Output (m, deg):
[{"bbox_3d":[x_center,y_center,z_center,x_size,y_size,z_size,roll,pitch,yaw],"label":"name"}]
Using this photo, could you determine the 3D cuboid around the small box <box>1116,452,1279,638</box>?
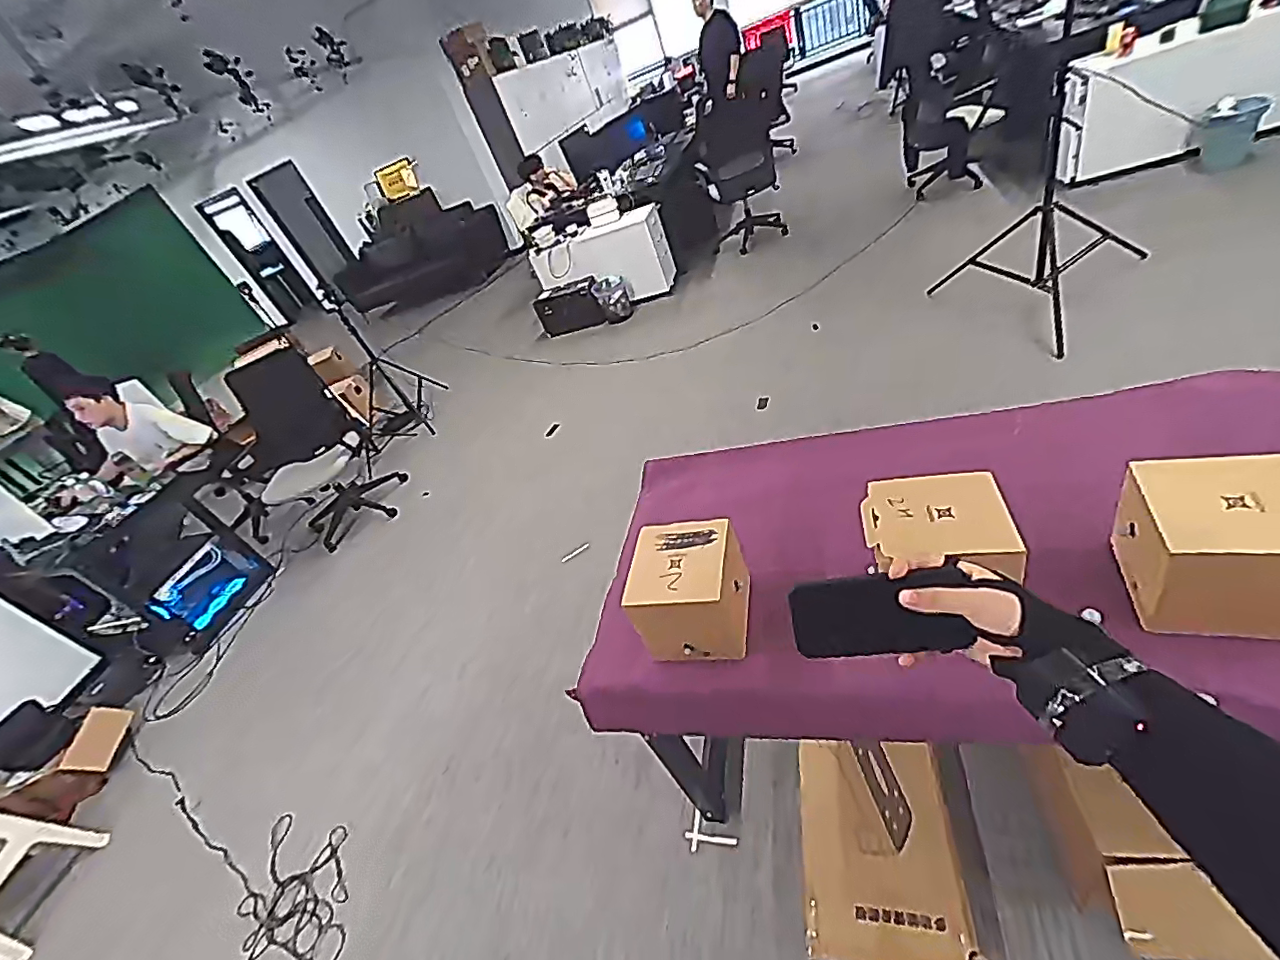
[{"bbox_3d":[0.744,0.084,0.691,0.179,0.176,0.168,-4,41,26],"label":"small box"}]

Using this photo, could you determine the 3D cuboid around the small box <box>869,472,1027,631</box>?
[{"bbox_3d":[0.456,0.112,0.823,0.179,0.176,0.168,-9,37,21],"label":"small box"}]
